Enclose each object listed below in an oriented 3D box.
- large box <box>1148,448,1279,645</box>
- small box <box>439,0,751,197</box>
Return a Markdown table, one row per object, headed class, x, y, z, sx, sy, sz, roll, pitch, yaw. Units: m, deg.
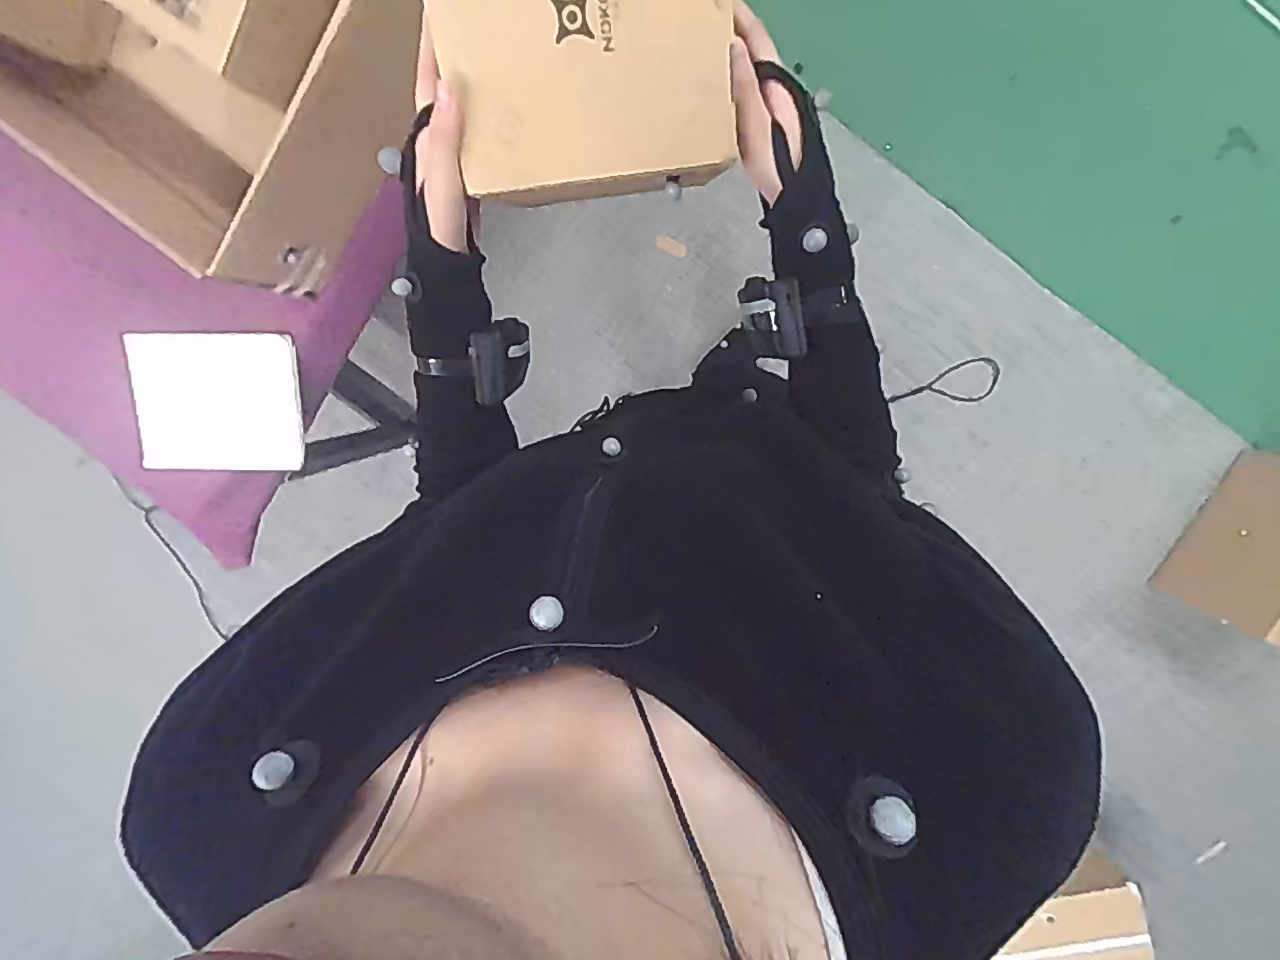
| class | x | y | z | sx | sy | sz | roll | pitch | yaw |
| --- | --- | --- | --- | --- | --- | --- | --- | --- | --- |
| large box | 1.543 | 0.181 | 1.256 | 0.320 | 0.320 | 0.408 | 22 | 102 | -1 |
| small box | -0.028 | -0.300 | 0.374 | 0.179 | 0.176 | 0.168 | -7 | 114 | 0 |
